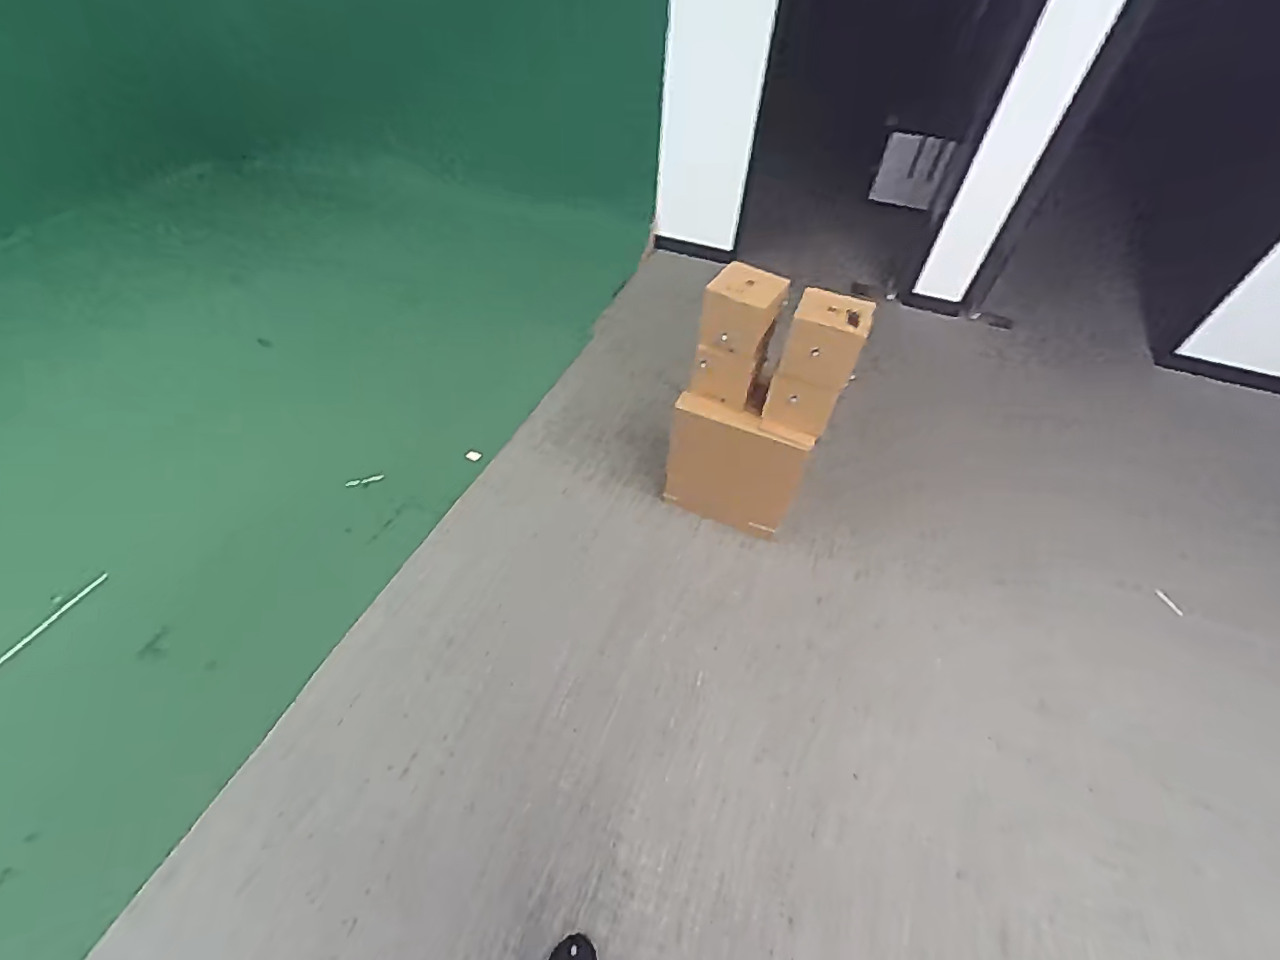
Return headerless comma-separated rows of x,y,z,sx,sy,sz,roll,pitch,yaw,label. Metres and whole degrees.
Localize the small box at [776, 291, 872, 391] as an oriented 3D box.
0.467,-0.352,1.382,0.179,0.176,0.168,19,51,14,small box
